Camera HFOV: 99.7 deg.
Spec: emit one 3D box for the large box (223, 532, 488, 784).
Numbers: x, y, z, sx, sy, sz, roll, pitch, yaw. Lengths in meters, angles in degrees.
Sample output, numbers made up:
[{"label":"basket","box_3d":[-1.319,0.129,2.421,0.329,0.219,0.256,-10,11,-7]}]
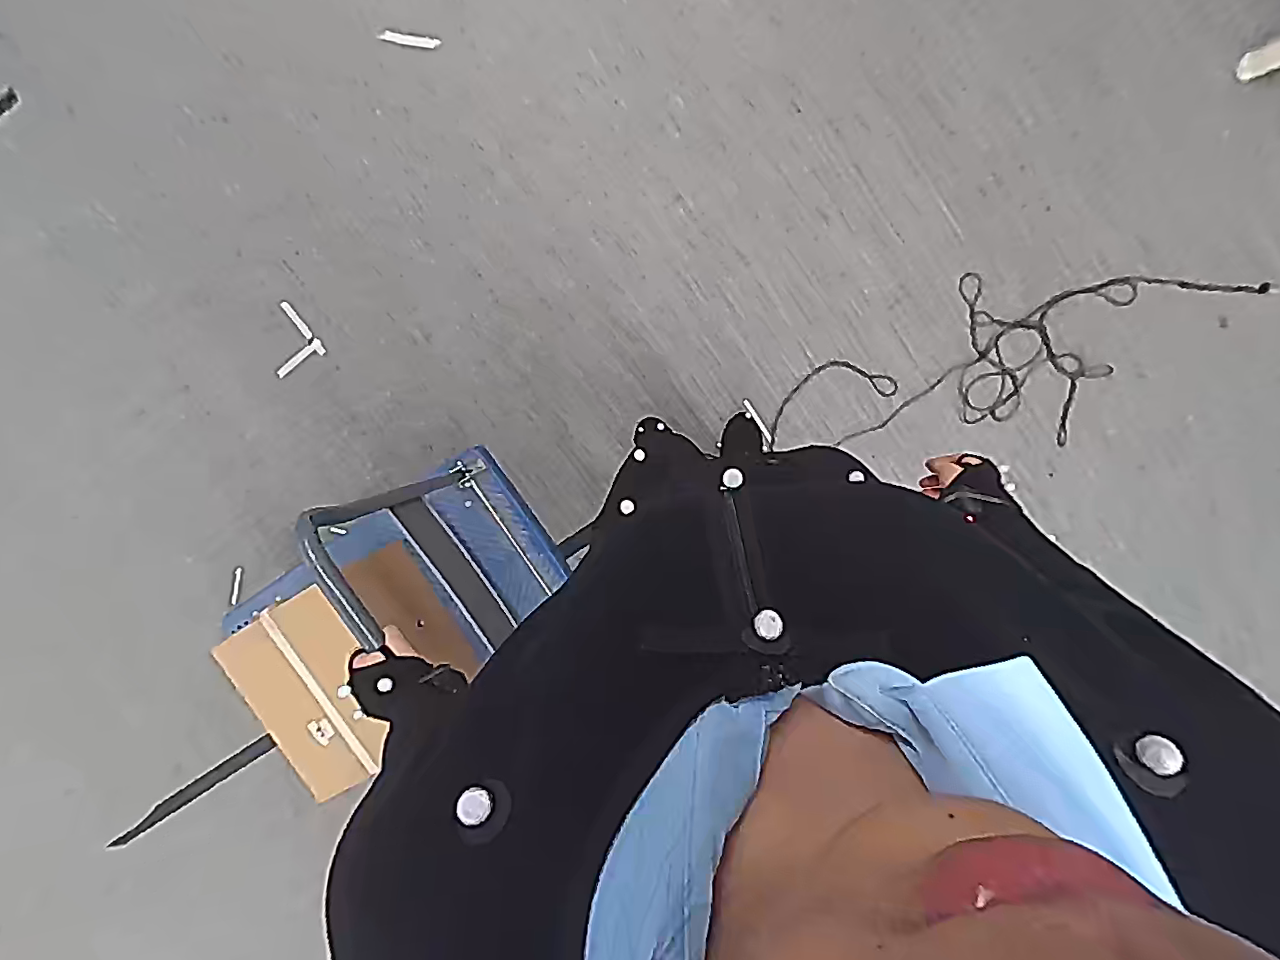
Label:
[{"label":"large box","box_3d":[-0.632,0.393,1.274,0.320,0.320,0.408,-31,96,7]}]
